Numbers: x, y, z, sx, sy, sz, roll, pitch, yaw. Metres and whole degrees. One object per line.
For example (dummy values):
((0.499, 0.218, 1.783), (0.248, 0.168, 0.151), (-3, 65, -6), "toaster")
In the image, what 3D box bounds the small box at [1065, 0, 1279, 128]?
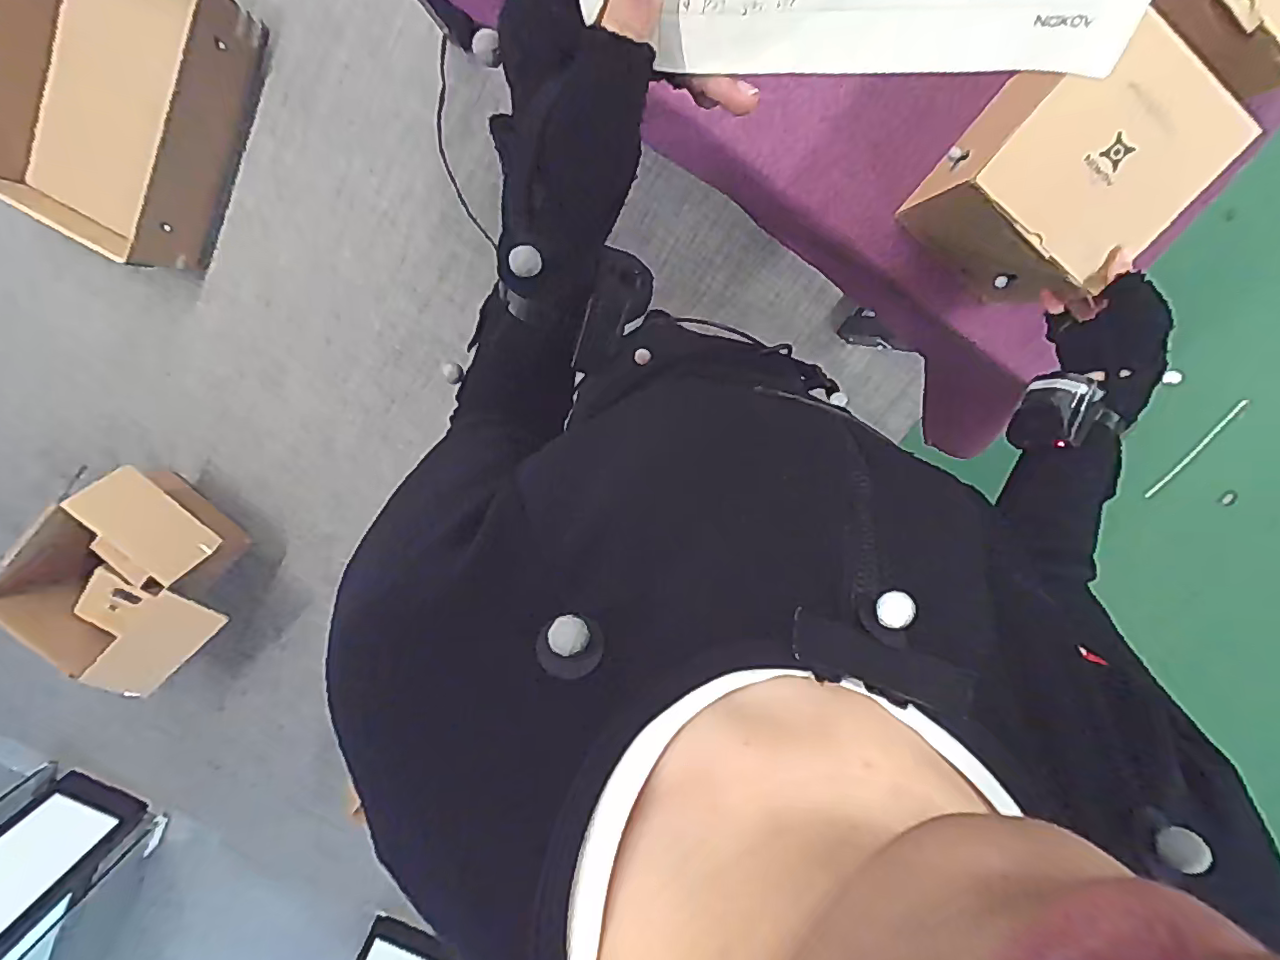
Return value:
((0.538, -0.465, 0.484), (0.168, 0.176, 0.179), (40, 105, -9), "small box")
